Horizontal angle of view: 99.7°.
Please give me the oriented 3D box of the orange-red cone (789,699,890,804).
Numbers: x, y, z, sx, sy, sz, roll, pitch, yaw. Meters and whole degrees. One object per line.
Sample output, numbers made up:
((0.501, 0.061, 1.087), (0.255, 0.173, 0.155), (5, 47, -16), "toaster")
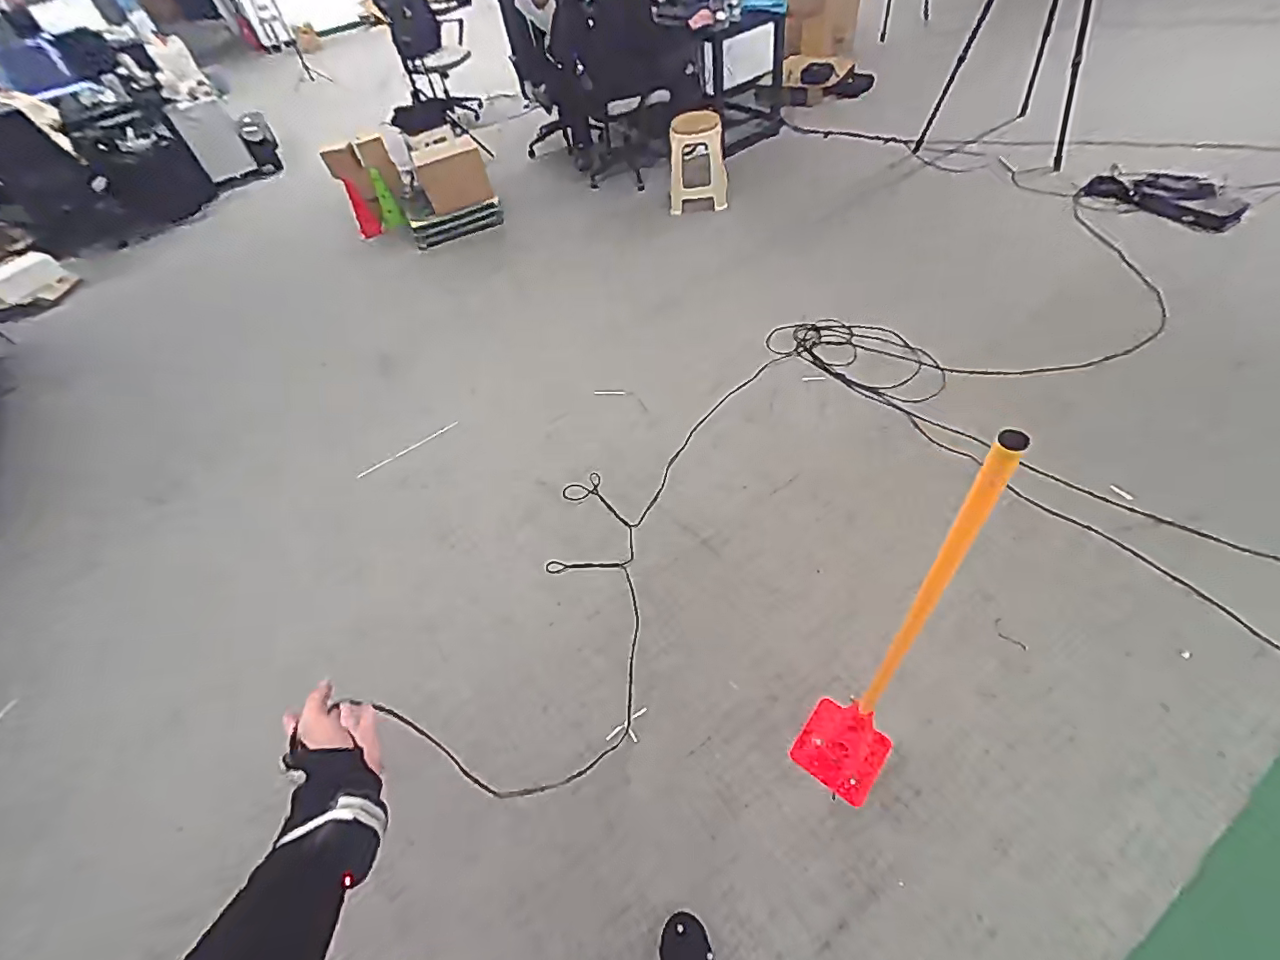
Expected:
((0.492, 0.585, 1.263), (0.198, 0.360, 0.199), (31, 61, 29), "orange-red cone")
